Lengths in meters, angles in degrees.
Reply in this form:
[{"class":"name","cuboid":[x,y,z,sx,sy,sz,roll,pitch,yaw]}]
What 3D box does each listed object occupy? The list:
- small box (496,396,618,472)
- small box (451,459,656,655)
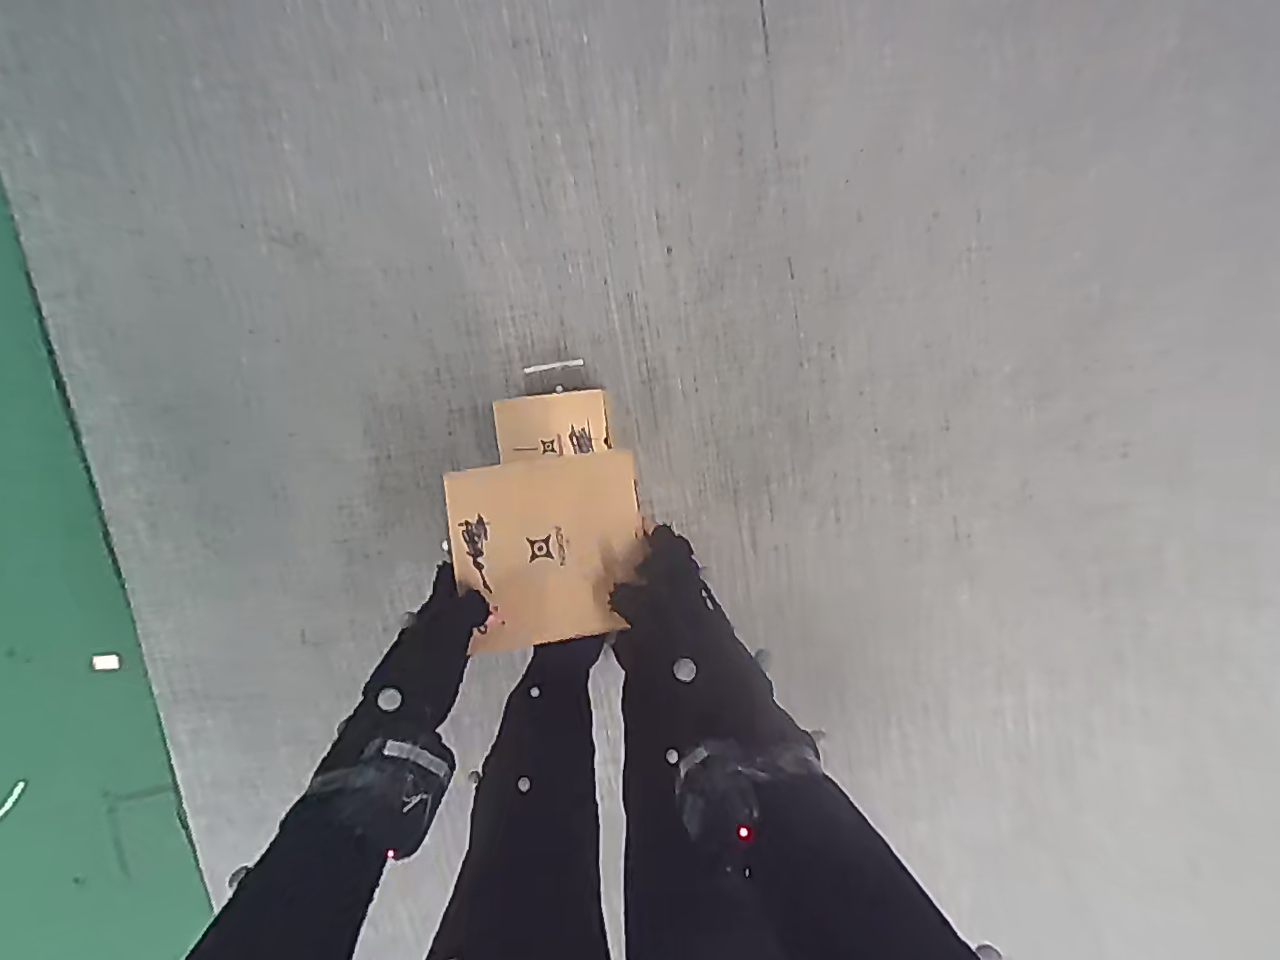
[{"class":"small box","cuboid":[-0.130,-0.052,0.928,0.179,0.176,0.168,-9,98,0]},{"class":"small box","cuboid":[-0.087,0.076,0.582,0.179,0.176,0.168,-8,84,-5]}]
